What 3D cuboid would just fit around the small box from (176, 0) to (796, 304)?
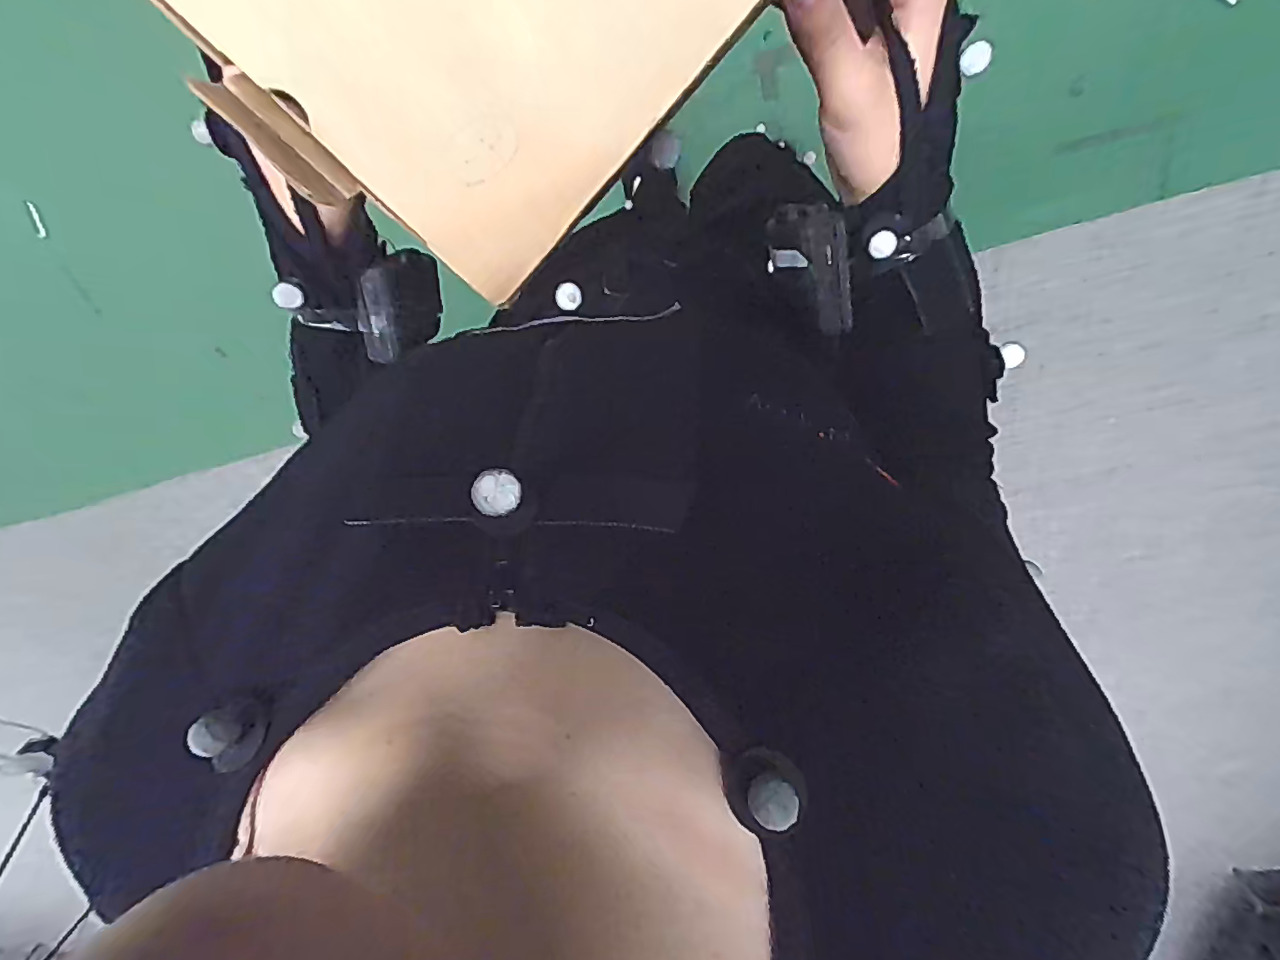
[{"bbox_3d":[-0.037,-0.208,0.207,0.168,0.176,0.179,40,121,-21],"label":"small box"}]
